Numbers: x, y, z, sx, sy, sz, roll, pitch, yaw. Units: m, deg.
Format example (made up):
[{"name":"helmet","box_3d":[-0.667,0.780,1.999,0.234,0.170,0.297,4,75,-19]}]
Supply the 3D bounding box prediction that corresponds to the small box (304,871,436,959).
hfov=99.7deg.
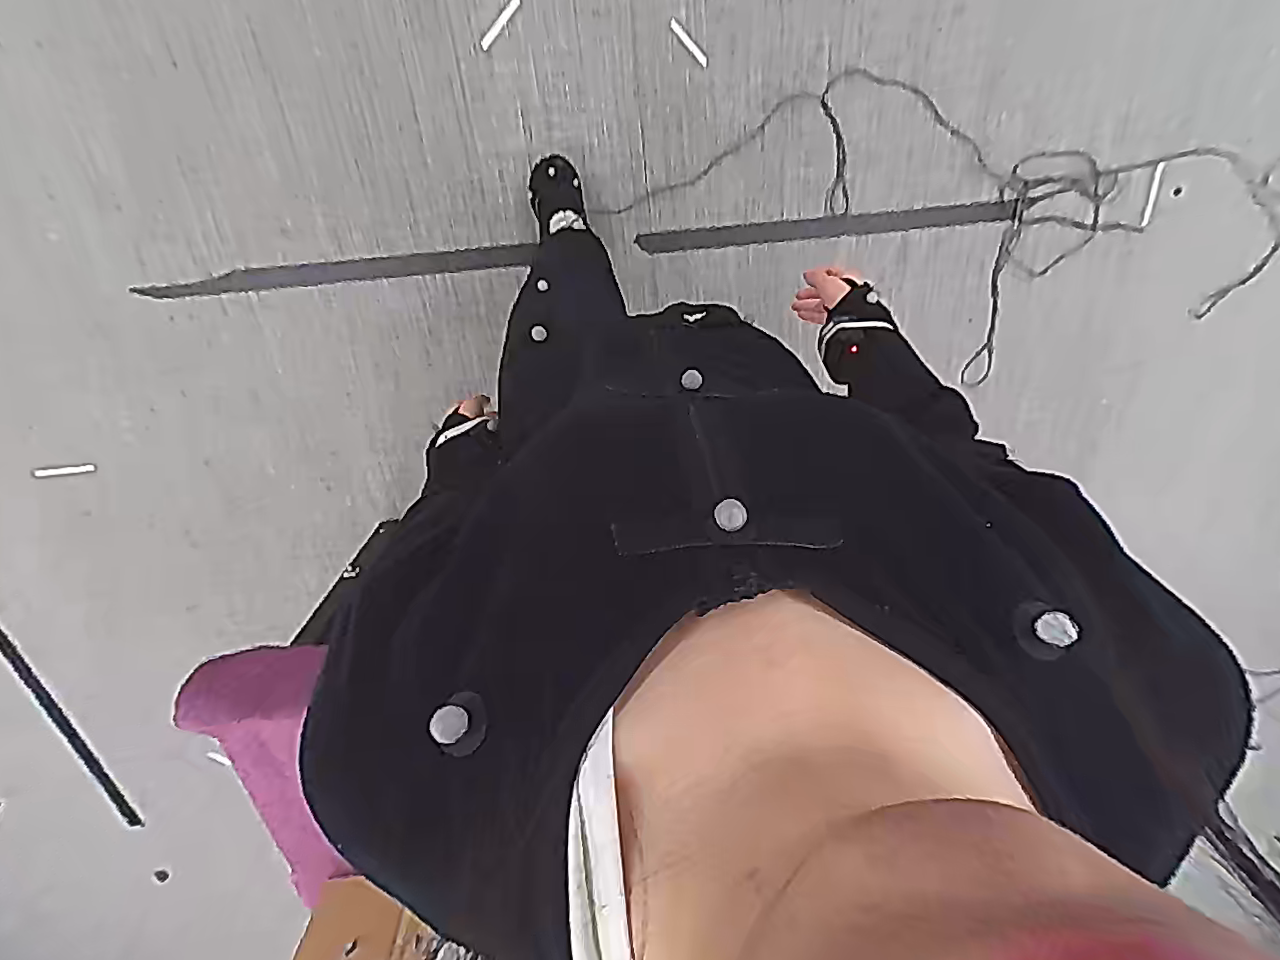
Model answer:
[{"name":"small box","box_3d":[-0.491,0.855,0.993,0.179,0.176,0.168,-6,113,-2]}]
